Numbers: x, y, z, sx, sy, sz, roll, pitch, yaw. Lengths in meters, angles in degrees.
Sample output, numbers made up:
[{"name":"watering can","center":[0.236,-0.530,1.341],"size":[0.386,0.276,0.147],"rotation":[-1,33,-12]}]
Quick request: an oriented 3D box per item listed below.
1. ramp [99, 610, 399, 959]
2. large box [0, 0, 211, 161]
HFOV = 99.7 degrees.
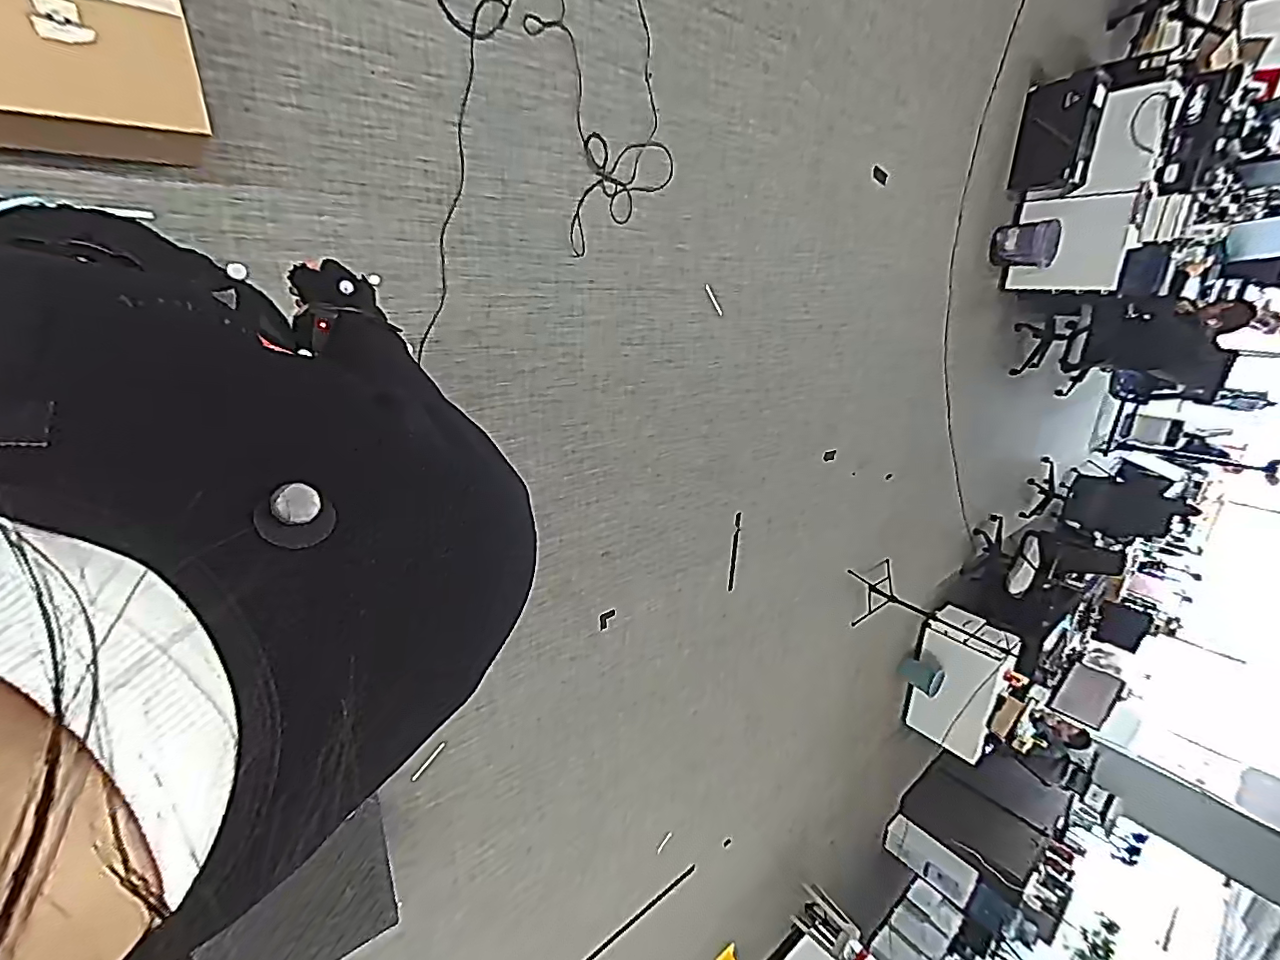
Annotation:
[{"name":"ramp","center":[-0.951,0.871,1.395],"size":[0.509,0.206,0.991],"rotation":[-13,113,-36]},{"name":"large box","center":[-0.913,-0.673,0.772],"size":[0.408,0.320,0.320],"rotation":[-17,117,-36]}]
